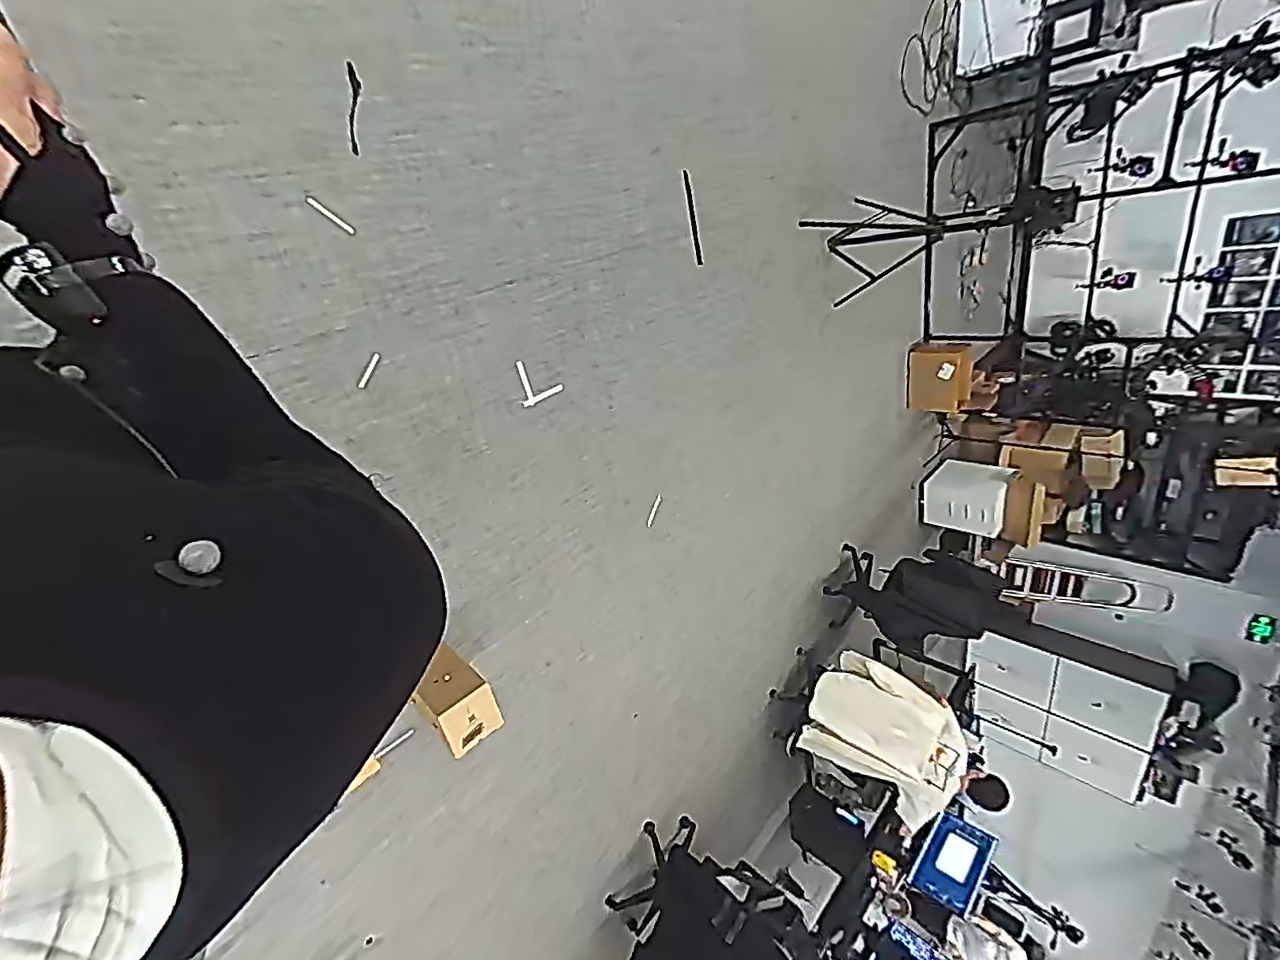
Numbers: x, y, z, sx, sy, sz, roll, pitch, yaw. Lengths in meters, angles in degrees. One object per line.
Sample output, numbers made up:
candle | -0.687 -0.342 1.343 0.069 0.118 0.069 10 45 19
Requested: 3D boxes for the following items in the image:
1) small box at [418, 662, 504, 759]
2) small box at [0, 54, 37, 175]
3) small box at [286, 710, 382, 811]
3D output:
small box | -0.544 0.692 1.642 0.168 0.176 0.179 -30 120 -36
small box | -0.591 -0.316 0.380 0.179 0.176 0.168 -27 126 -48
small box | -0.891 0.800 1.570 0.168 0.176 0.179 -34 123 -33
